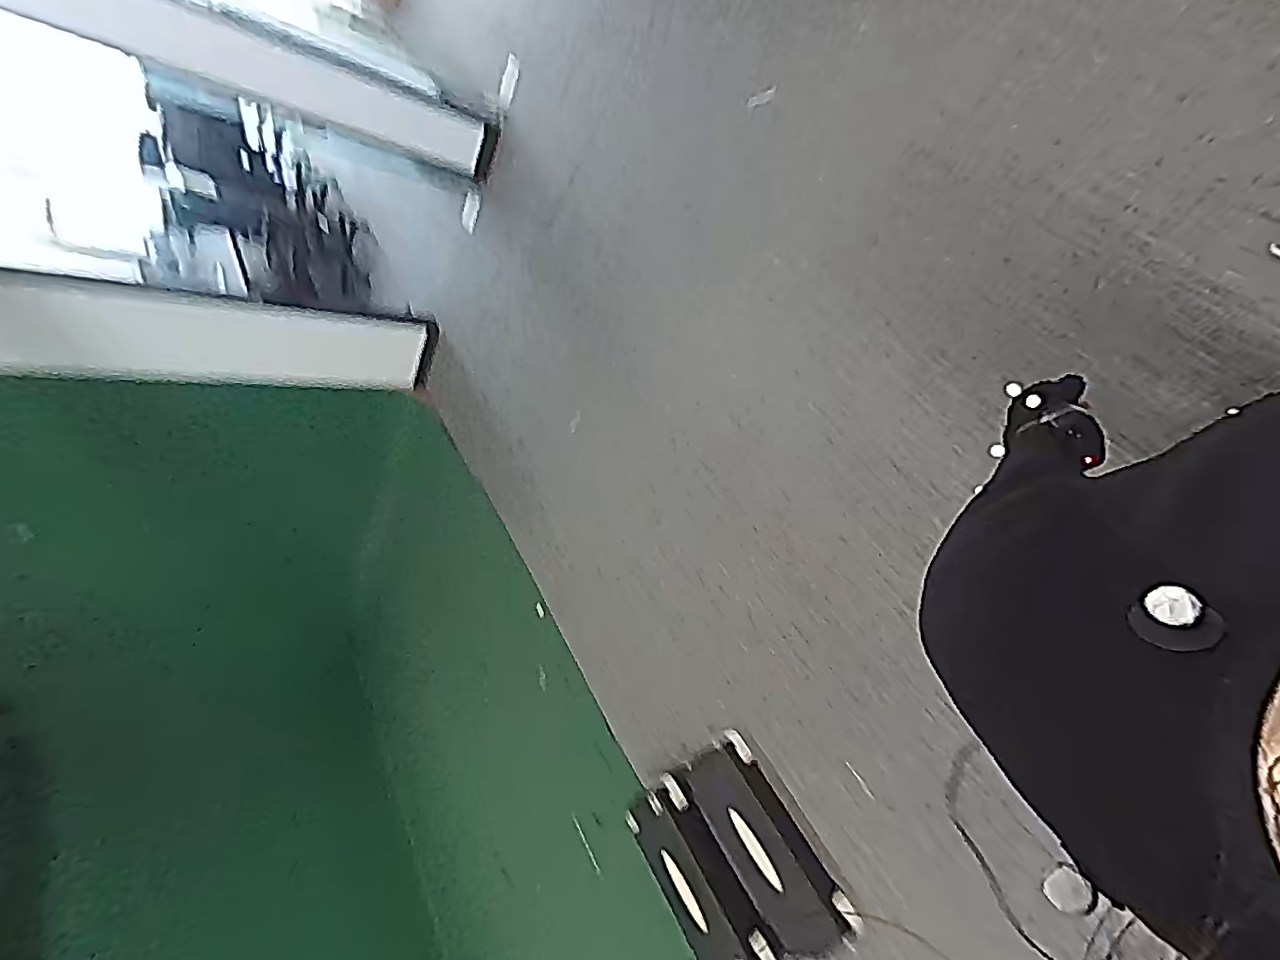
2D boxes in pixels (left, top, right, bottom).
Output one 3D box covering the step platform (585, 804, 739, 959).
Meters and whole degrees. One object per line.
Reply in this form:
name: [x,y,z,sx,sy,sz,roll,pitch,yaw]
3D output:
step platform: [0.089,1.517,1.866,0.684,0.204,0.286,53,128,26]
